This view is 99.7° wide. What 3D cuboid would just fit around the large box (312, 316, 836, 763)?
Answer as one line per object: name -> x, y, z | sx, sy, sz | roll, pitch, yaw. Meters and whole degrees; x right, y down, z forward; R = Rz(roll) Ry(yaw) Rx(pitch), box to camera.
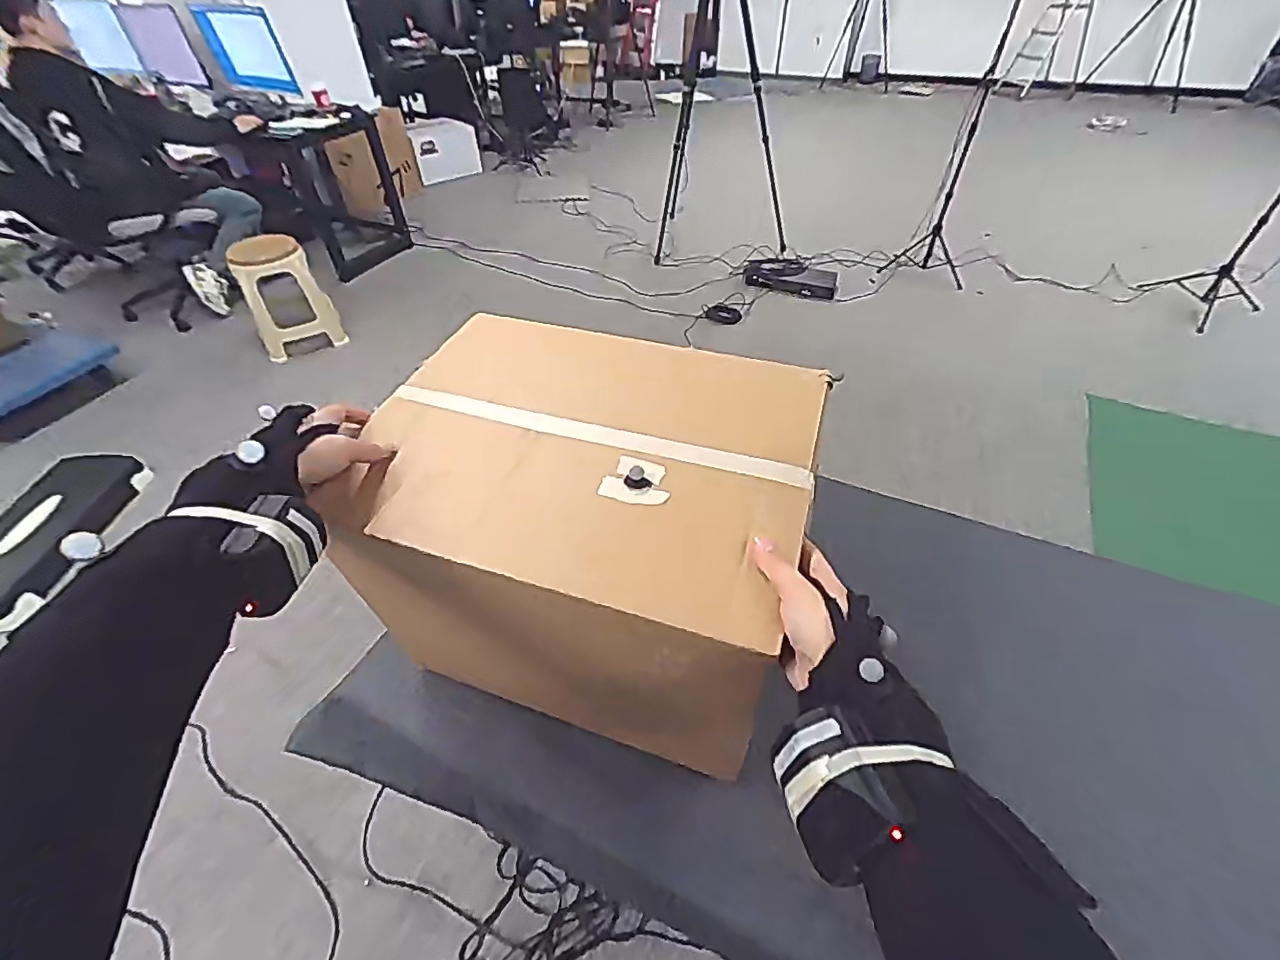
large box -> -0.035, 0.057, 0.603 | 0.408, 0.320, 0.320 | 13, 51, 13
